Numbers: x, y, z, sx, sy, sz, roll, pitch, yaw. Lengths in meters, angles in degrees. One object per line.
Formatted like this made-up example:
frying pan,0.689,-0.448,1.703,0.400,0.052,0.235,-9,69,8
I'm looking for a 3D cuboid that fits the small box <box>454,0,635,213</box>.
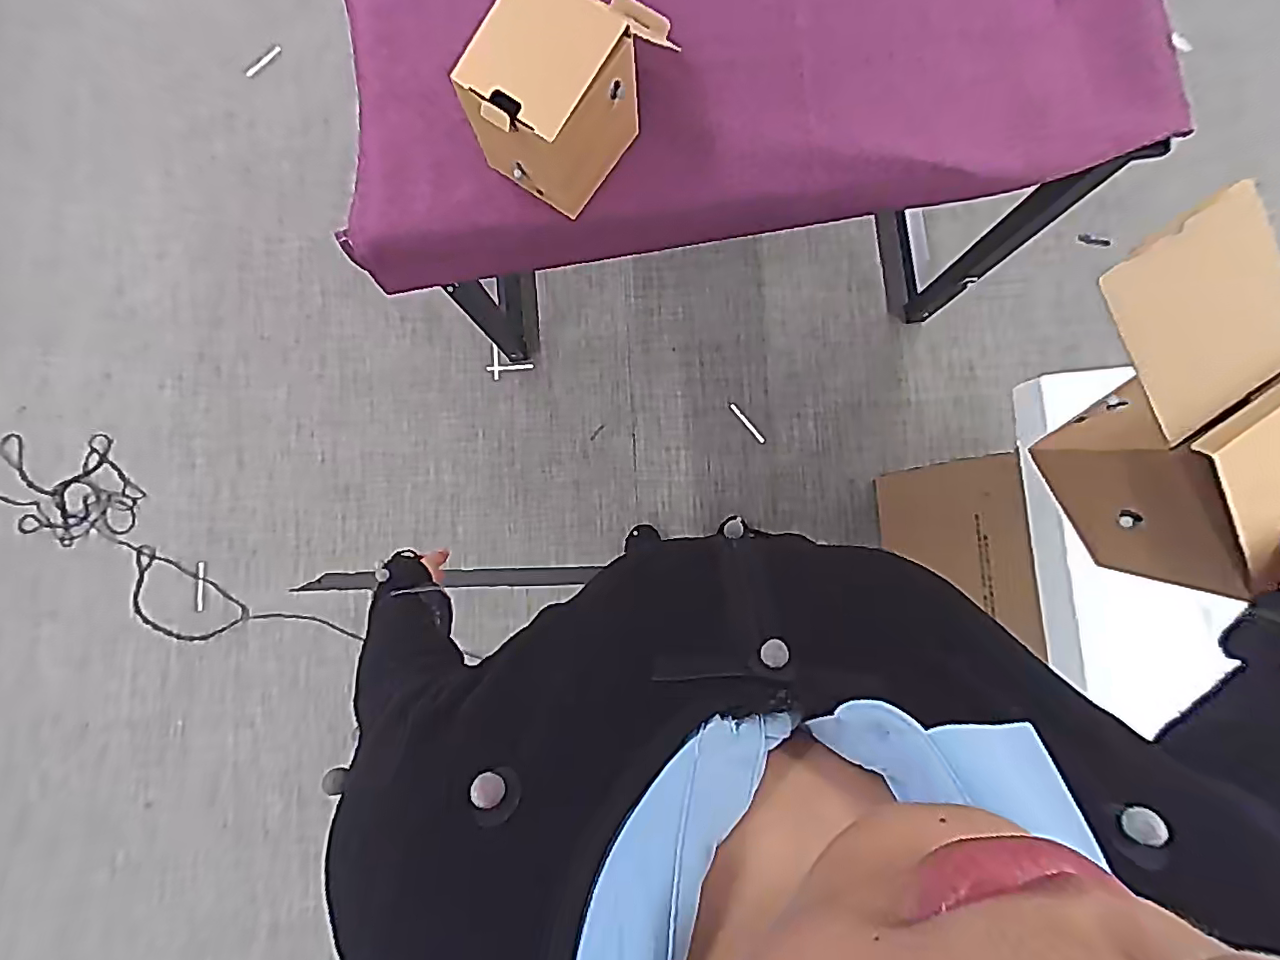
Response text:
small box,-0.120,-0.526,0.758,0.168,0.176,0.179,35,87,6
